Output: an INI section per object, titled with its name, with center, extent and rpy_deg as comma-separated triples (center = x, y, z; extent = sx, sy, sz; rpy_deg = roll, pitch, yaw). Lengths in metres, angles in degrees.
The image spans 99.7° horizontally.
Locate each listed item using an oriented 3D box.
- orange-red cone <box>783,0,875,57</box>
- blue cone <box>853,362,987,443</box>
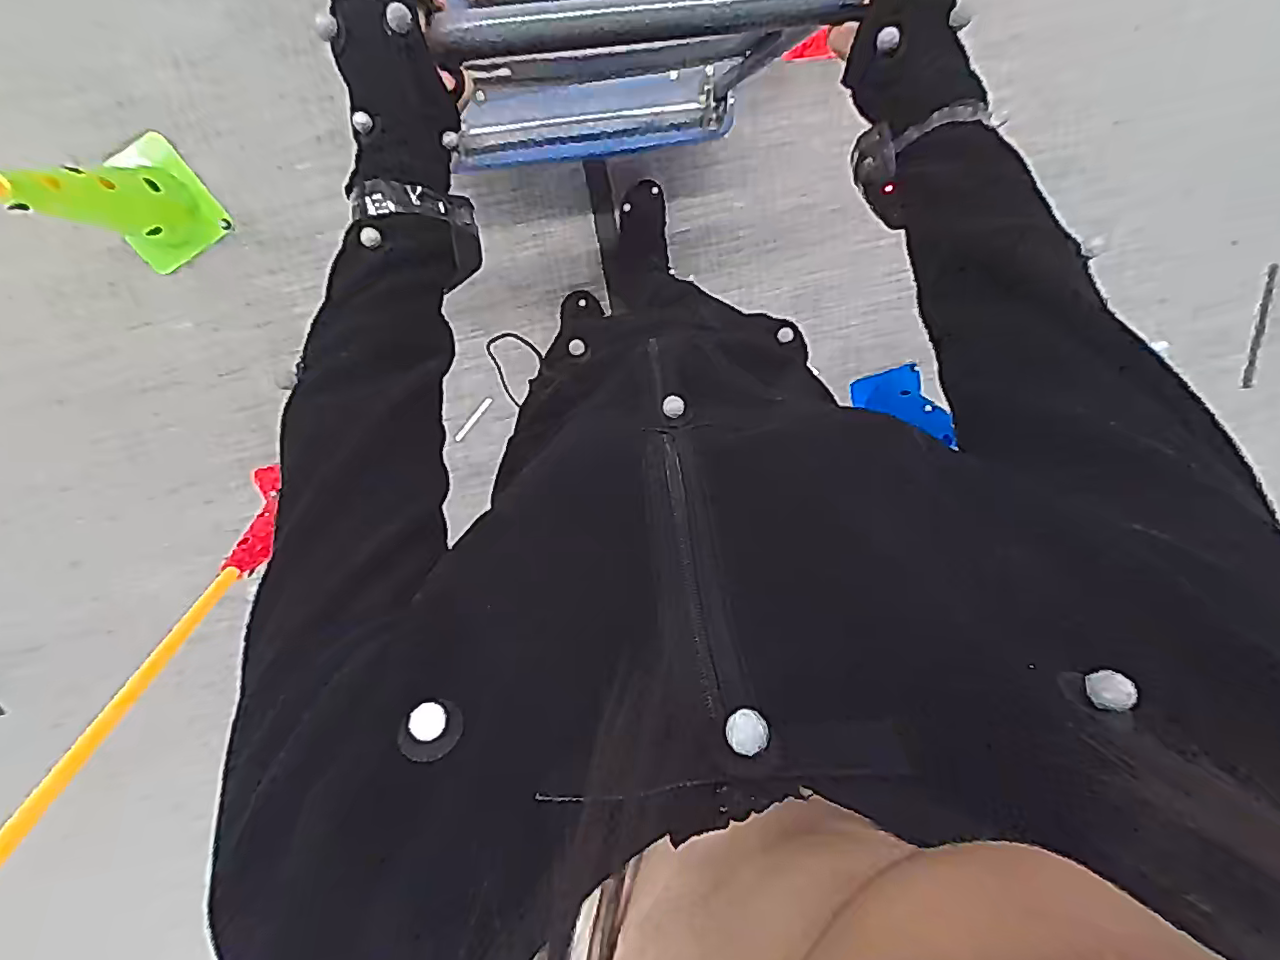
[orange-red cone]
center = 0.421, -0.929, 0.960
extent = 0.199, 0.360, 0.198
rpy_deg = -8, 114, -7
[blue cone]
center = 0.710, -0.154, 1.340
extent = 0.193, 0.380, 0.192
rpy_deg = -17, 113, -2
